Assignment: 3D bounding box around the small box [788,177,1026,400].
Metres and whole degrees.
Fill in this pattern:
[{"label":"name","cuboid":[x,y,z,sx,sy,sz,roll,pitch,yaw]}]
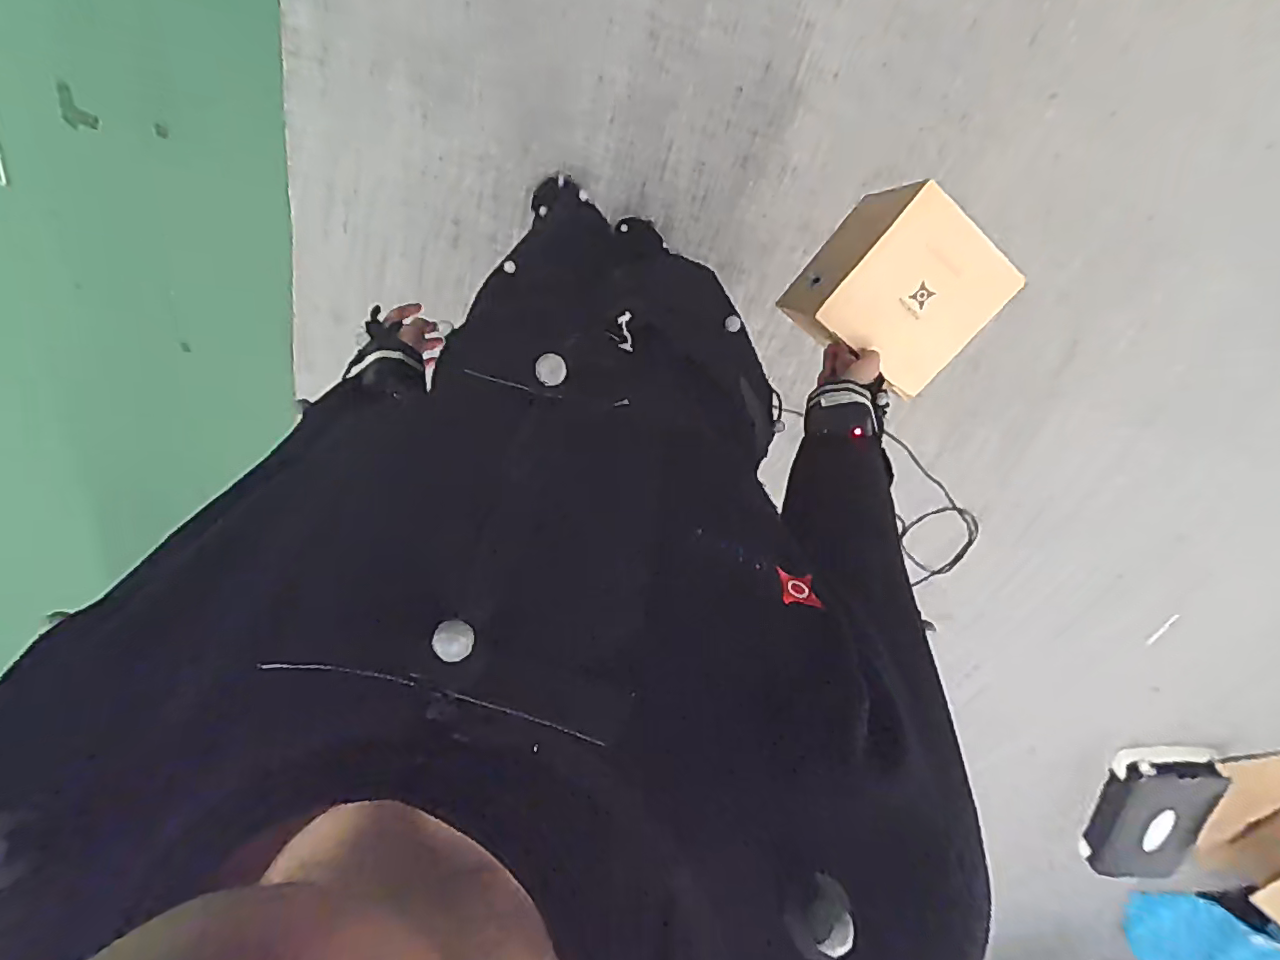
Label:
[{"label":"small box","cuboid":[0.306,-0.231,0.667,0.168,0.176,0.179,35,106,-16]}]
